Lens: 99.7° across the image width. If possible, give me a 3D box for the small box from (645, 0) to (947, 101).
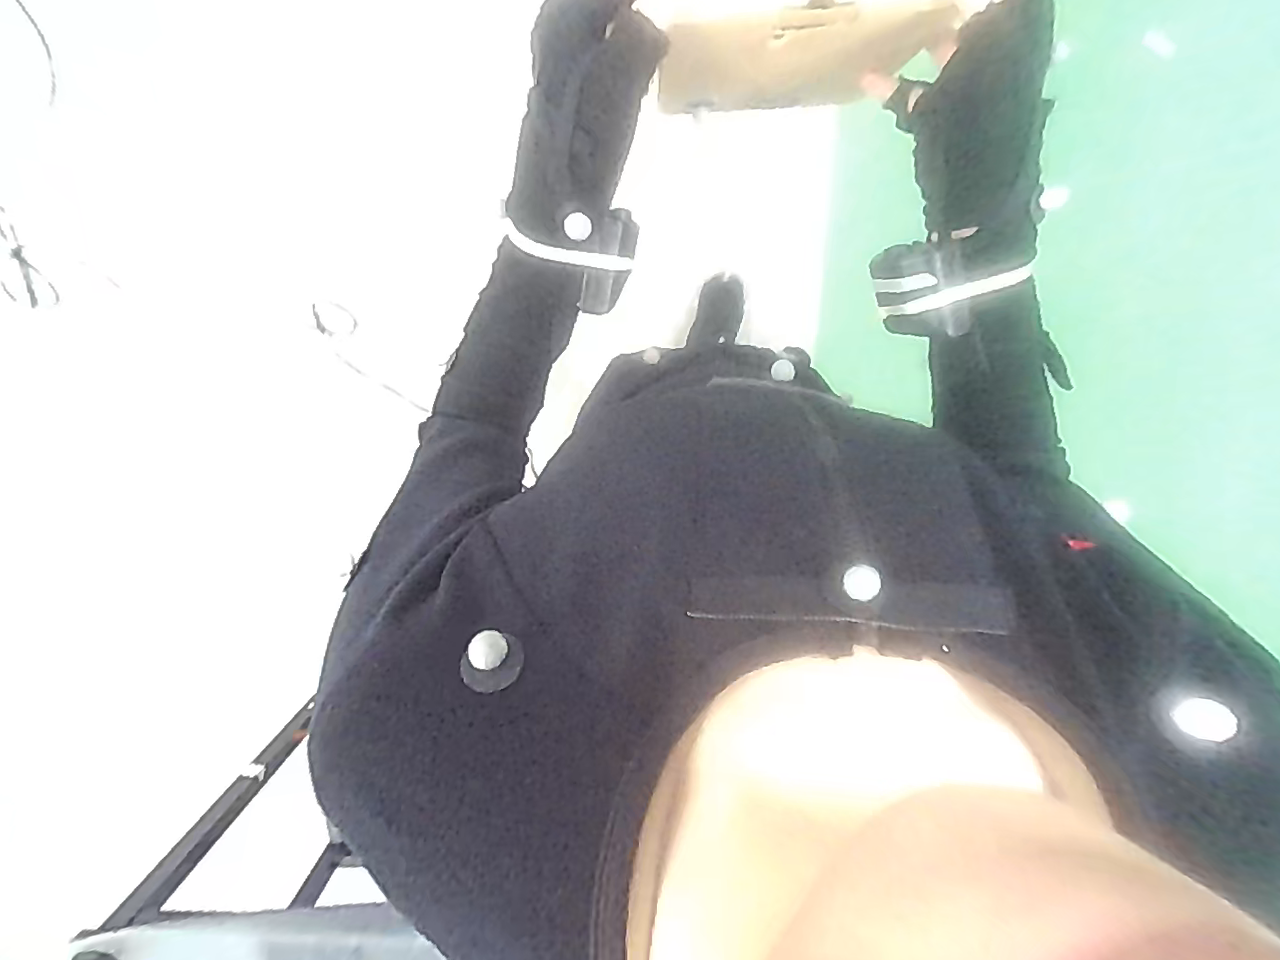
[{"bbox_3d":[0.085,-0.355,0.329,0.168,0.176,0.179,-2,108,2],"label":"small box"}]
